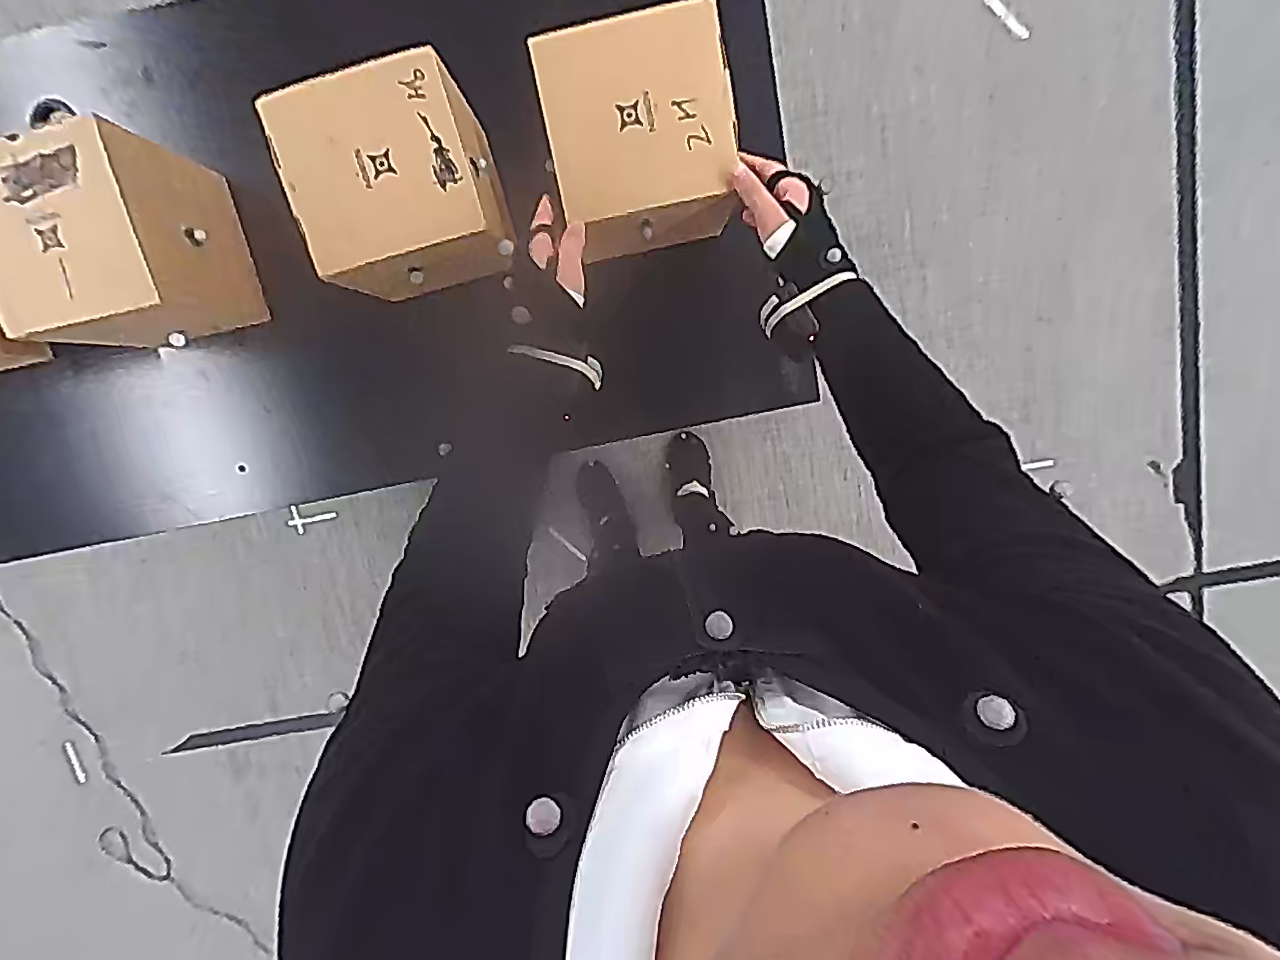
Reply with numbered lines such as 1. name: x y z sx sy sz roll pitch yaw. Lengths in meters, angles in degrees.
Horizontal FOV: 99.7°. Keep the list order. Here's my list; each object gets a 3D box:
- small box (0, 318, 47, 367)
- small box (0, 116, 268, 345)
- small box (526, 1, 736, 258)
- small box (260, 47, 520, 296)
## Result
1. small box: -0.849 -0.209 0.607 0.168 0.176 0.179 -13 100 1
2. small box: -0.566 -0.257 0.600 0.168 0.176 0.179 -12 101 2
3. small box: -0.006 -0.355 0.586 0.179 0.176 0.168 -11 100 2
4. small box: -0.252 -0.314 0.593 0.179 0.176 0.168 -16 100 3
